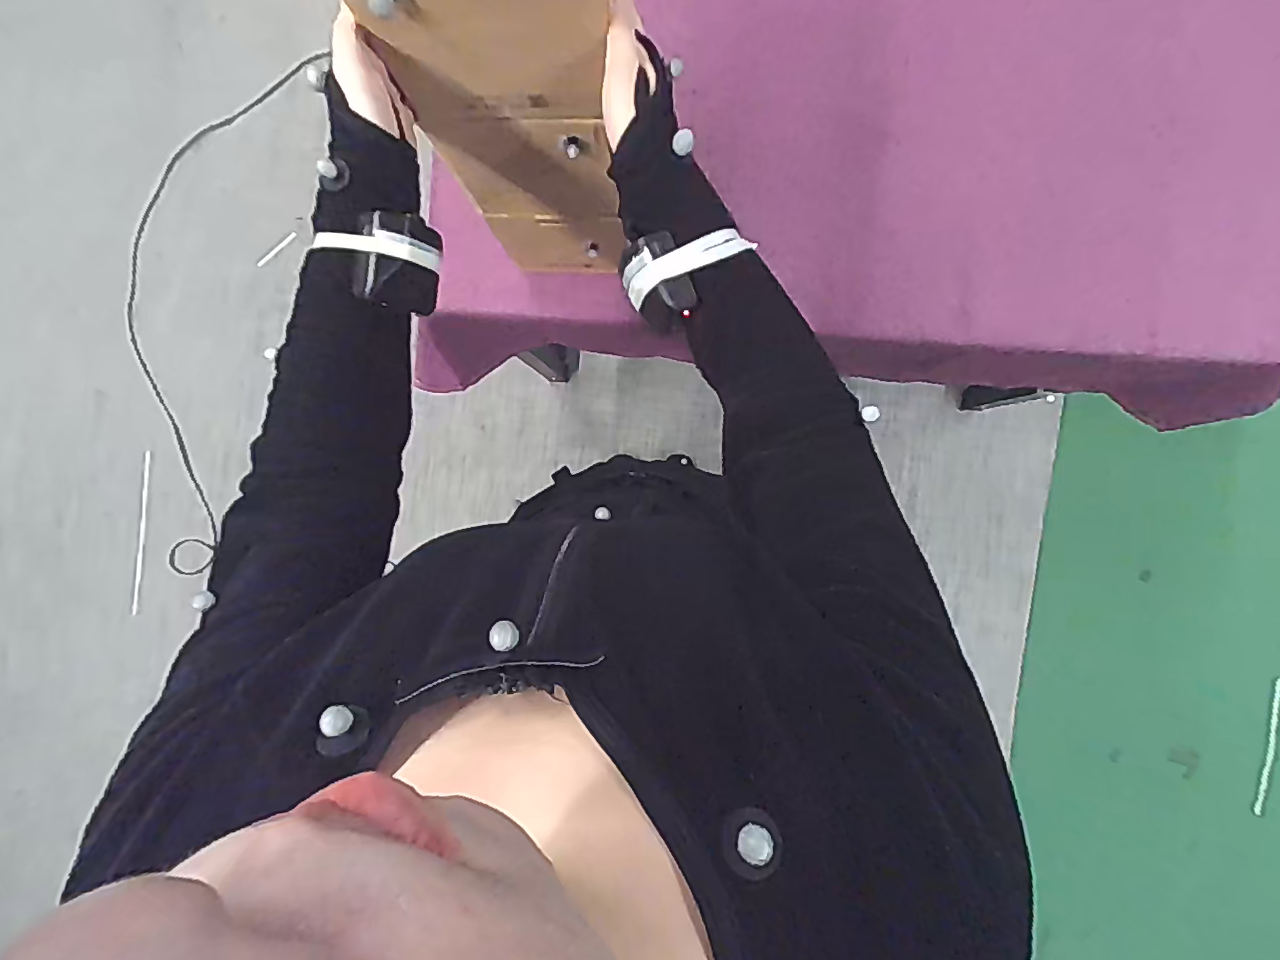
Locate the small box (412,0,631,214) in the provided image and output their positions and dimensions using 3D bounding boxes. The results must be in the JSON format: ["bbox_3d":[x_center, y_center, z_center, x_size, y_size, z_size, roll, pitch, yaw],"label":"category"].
[{"bbox_3d":[-0.101,-0.381,0.531,0.179,0.176,0.168,1,91,1],"label":"small box"}]

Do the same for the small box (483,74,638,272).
[{"bbox_3d":[-0.091,-0.383,0.693,0.168,0.176,0.179,3,90,1],"label":"small box"}]
